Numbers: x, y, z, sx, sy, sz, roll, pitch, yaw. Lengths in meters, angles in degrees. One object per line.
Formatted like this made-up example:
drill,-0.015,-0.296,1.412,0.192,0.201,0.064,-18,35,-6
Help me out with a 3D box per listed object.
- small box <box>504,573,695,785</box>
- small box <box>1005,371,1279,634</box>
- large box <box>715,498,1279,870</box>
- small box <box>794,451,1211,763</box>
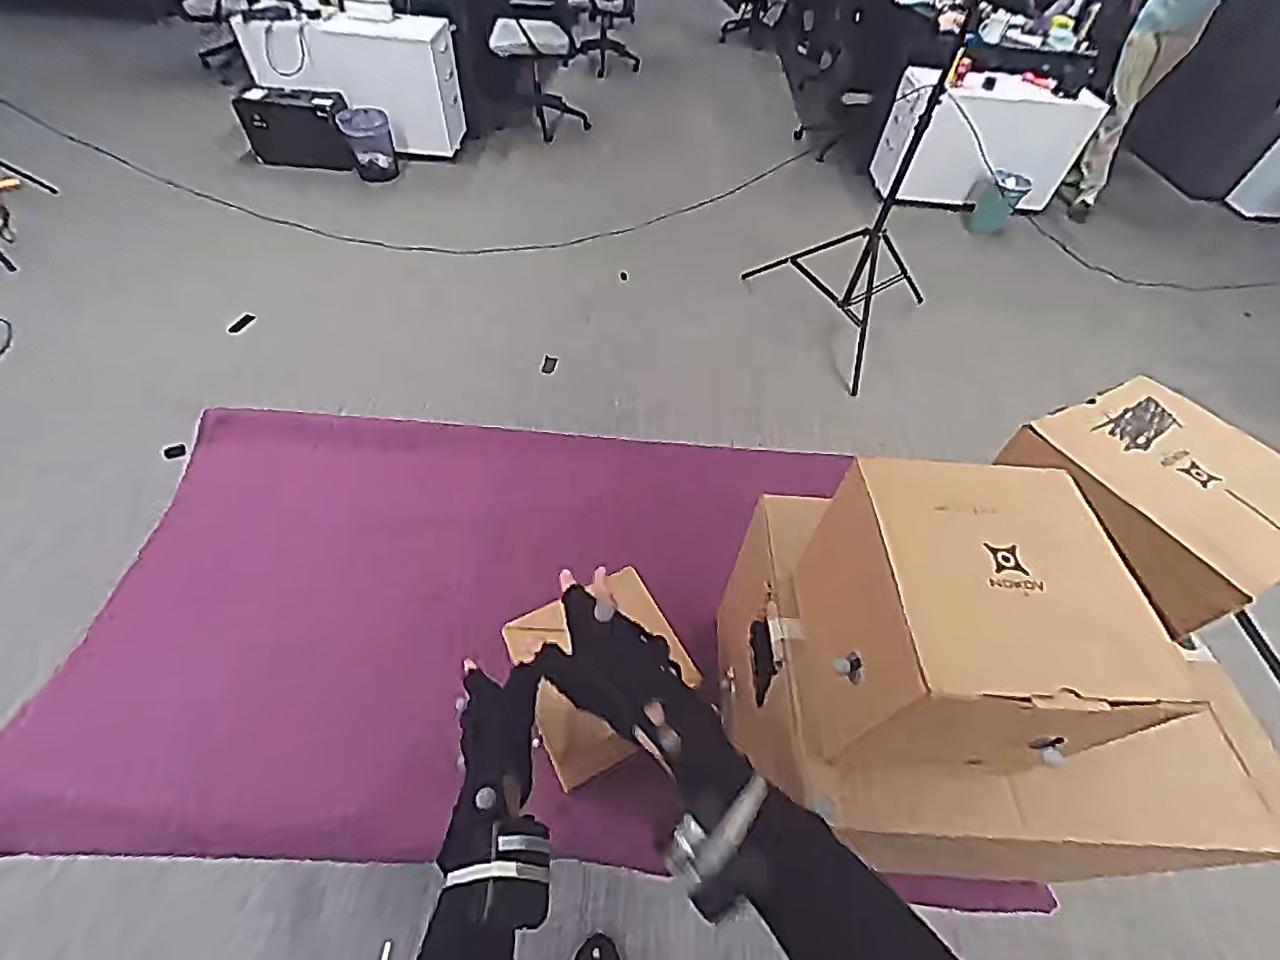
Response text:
small box,-0.049,0.239,0.665,0.179,0.176,0.168,-22,56,-19
small box,0.415,0.038,0.469,0.168,0.176,0.179,-19,54,-18
large box,0.316,0.241,0.614,0.408,0.320,0.320,4,52,-2
small box,0.230,0.101,0.407,0.168,0.176,0.179,4,50,-3
